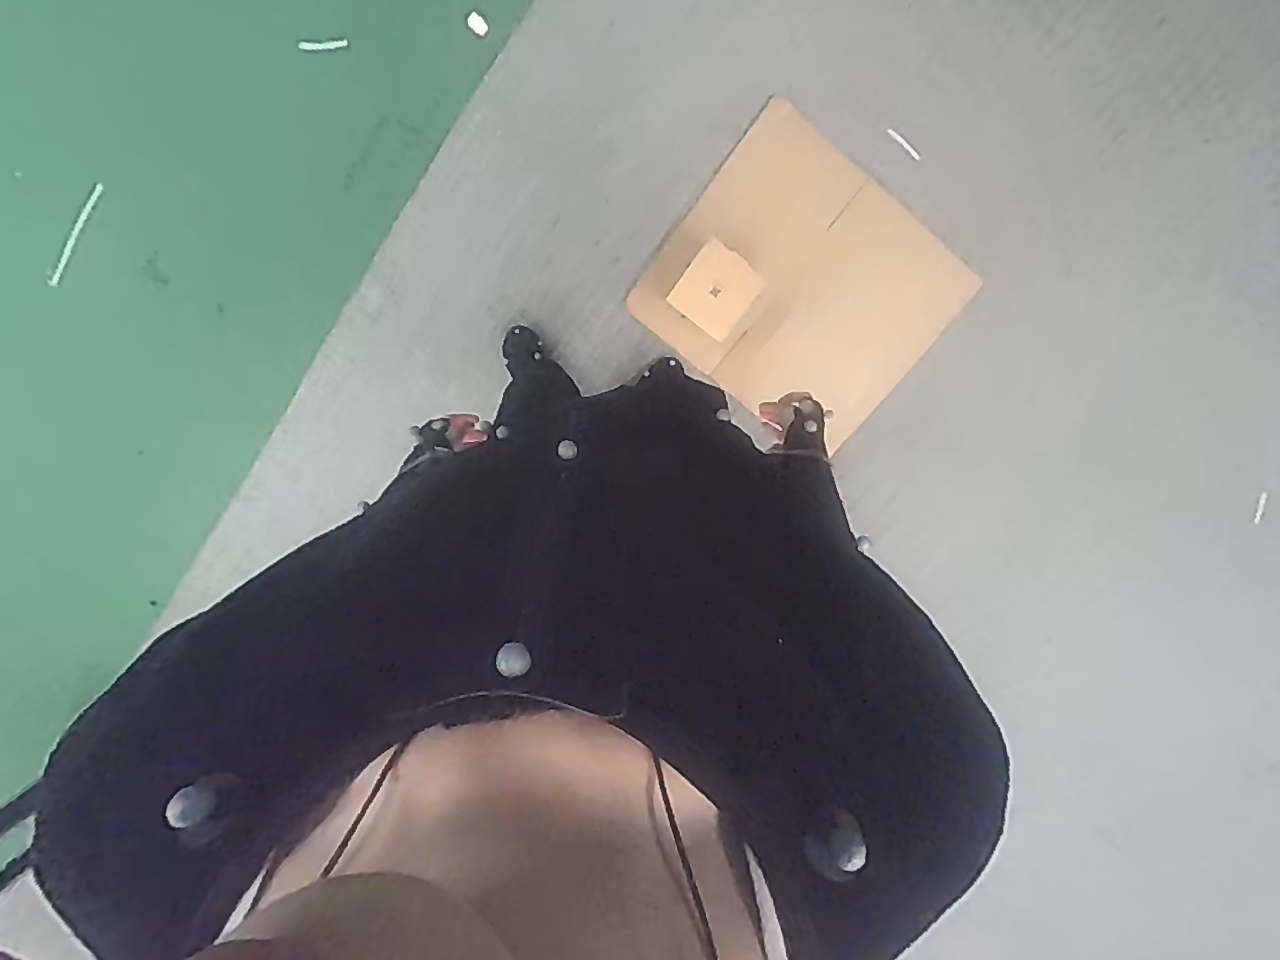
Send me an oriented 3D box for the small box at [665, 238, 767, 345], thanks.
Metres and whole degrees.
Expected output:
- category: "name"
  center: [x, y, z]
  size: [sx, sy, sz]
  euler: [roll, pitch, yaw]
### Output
- category: "small box"
  center: [0.175, -0.443, 1.301]
  size: [0.168, 0.176, 0.179]
  euler: [36, 102, -8]
